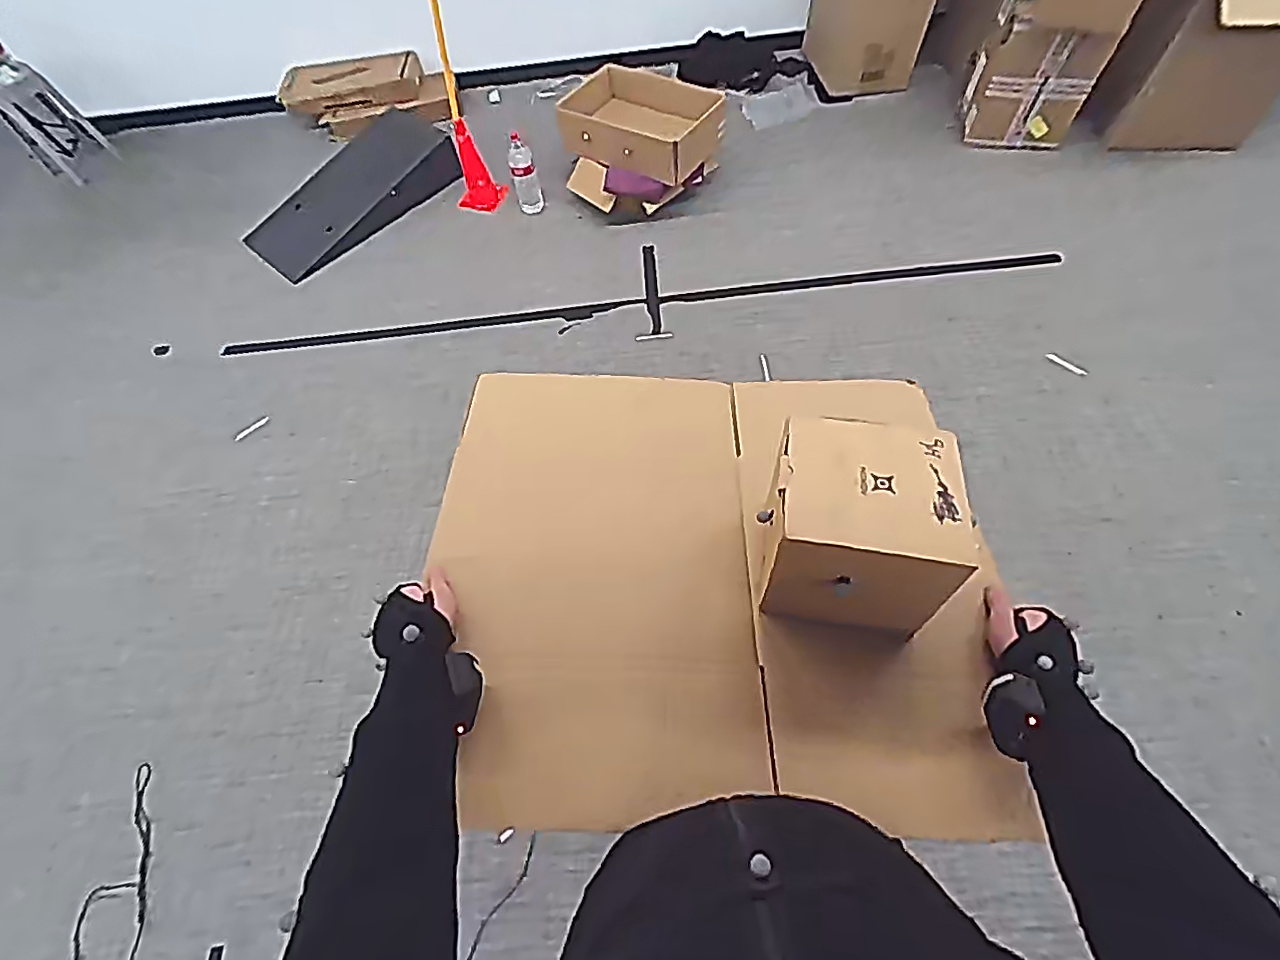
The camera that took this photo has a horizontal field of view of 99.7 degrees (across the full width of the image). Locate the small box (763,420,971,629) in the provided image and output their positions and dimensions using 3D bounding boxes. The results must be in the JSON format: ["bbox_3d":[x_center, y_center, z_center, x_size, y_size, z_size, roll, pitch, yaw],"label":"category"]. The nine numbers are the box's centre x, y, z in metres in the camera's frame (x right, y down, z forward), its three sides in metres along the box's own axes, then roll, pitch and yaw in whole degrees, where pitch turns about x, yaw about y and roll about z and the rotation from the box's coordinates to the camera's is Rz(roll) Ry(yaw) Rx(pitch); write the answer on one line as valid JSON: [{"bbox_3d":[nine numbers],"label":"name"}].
[{"bbox_3d":[0.239,0.054,0.614,0.179,0.176,0.168,7,55,10],"label":"small box"}]
